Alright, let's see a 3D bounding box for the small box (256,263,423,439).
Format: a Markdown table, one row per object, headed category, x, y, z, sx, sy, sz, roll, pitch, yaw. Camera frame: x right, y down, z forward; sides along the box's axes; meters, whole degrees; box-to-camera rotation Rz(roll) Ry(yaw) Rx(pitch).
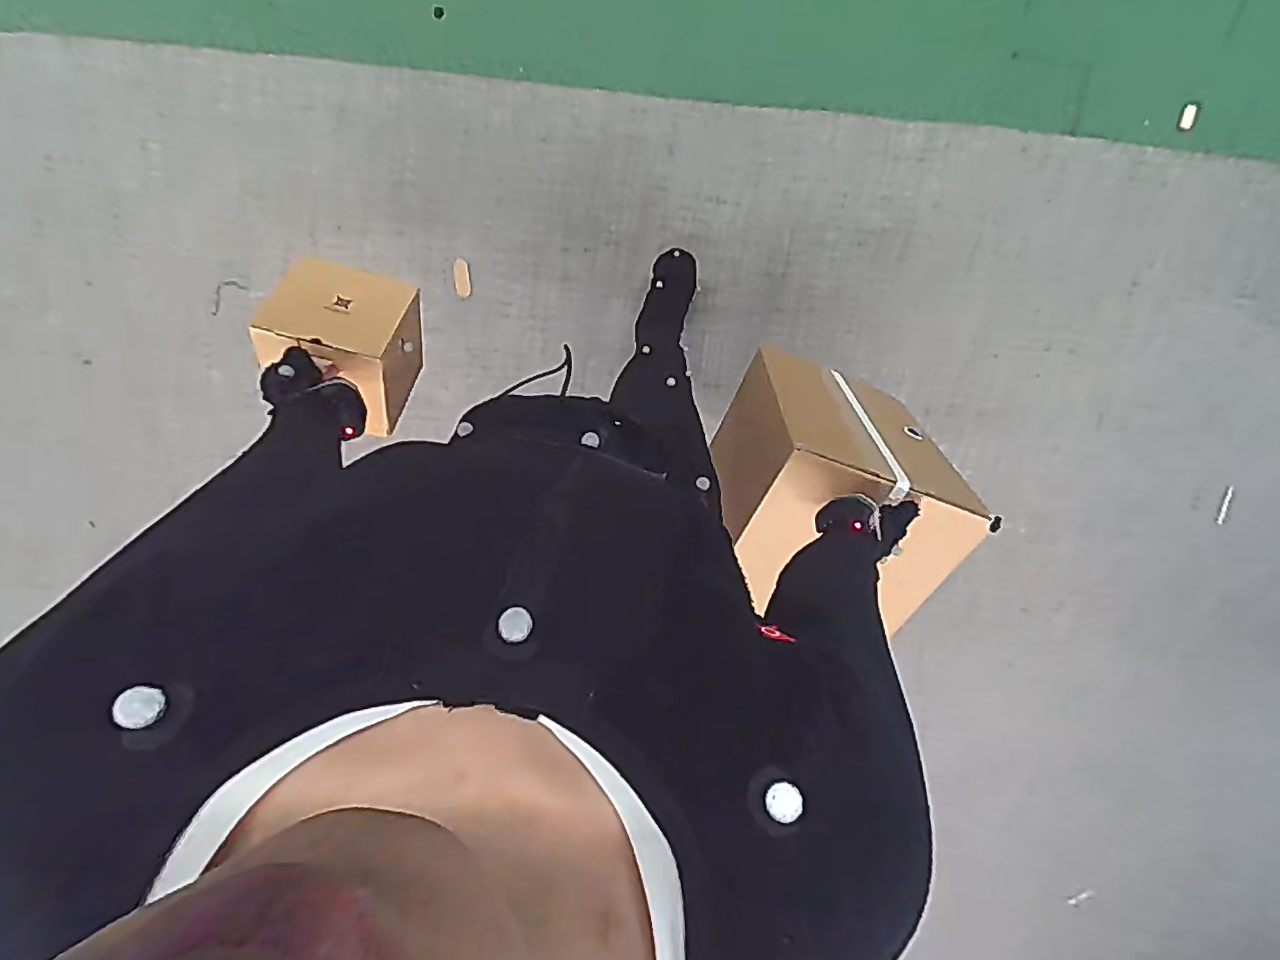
| category | x | y | z | sx | sy | sz | roll | pitch | yaw |
| --- | --- | --- | --- | --- | --- | --- | --- | --- | --- |
| small box | -0.443 | -0.193 | 0.831 | 0.168 | 0.179 | 0.176 | 12 | 141 | -11 |
